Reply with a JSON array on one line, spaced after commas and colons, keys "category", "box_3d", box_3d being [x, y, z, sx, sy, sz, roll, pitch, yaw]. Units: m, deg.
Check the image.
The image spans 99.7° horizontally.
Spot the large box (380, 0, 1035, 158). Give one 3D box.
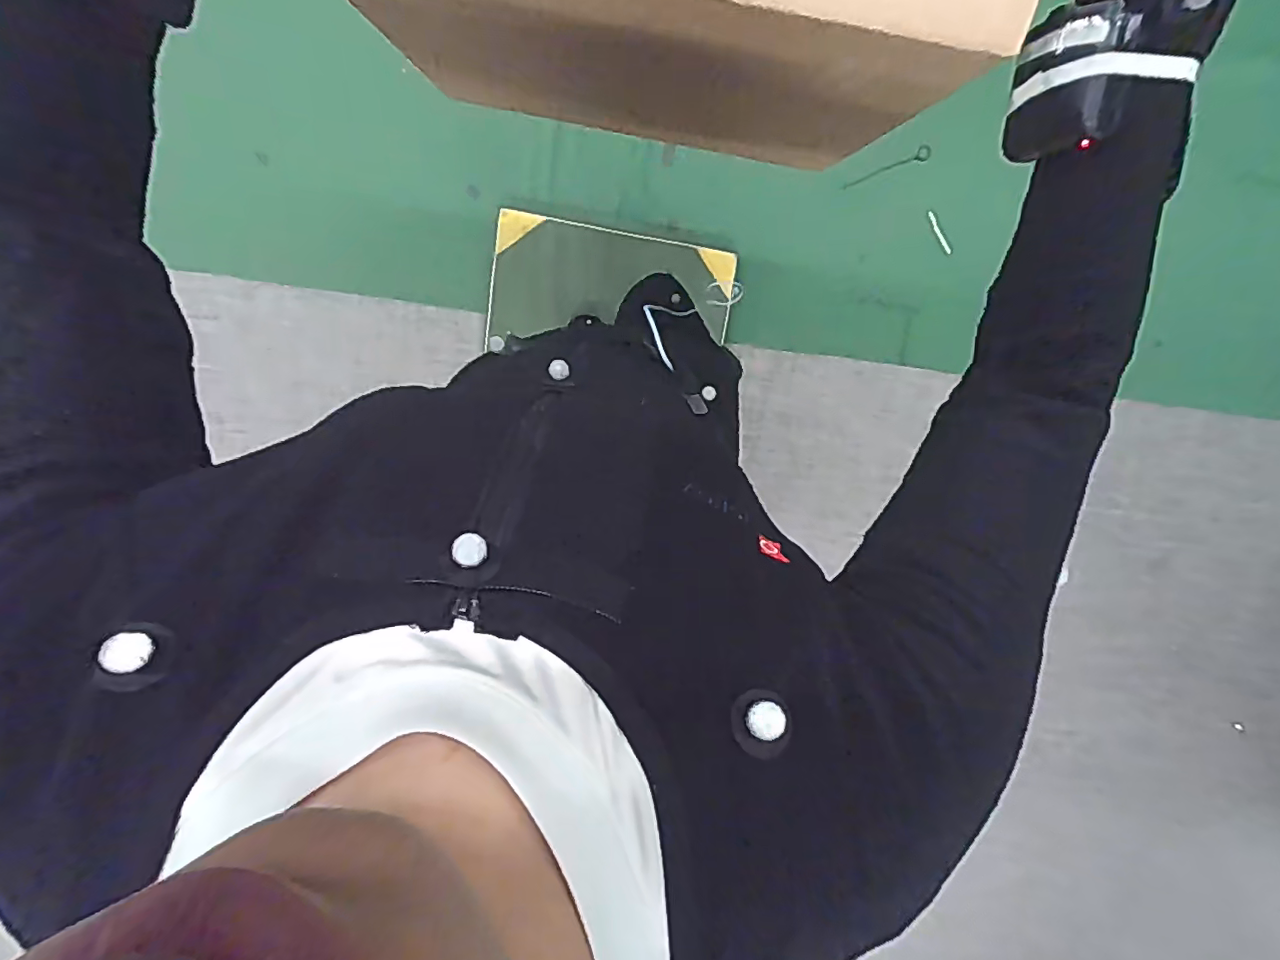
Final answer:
[{"category": "large box", "box_3d": [0.032, -0.458, 0.374, 0.408, 0.320, 0.320, 8, 110, -5]}]
